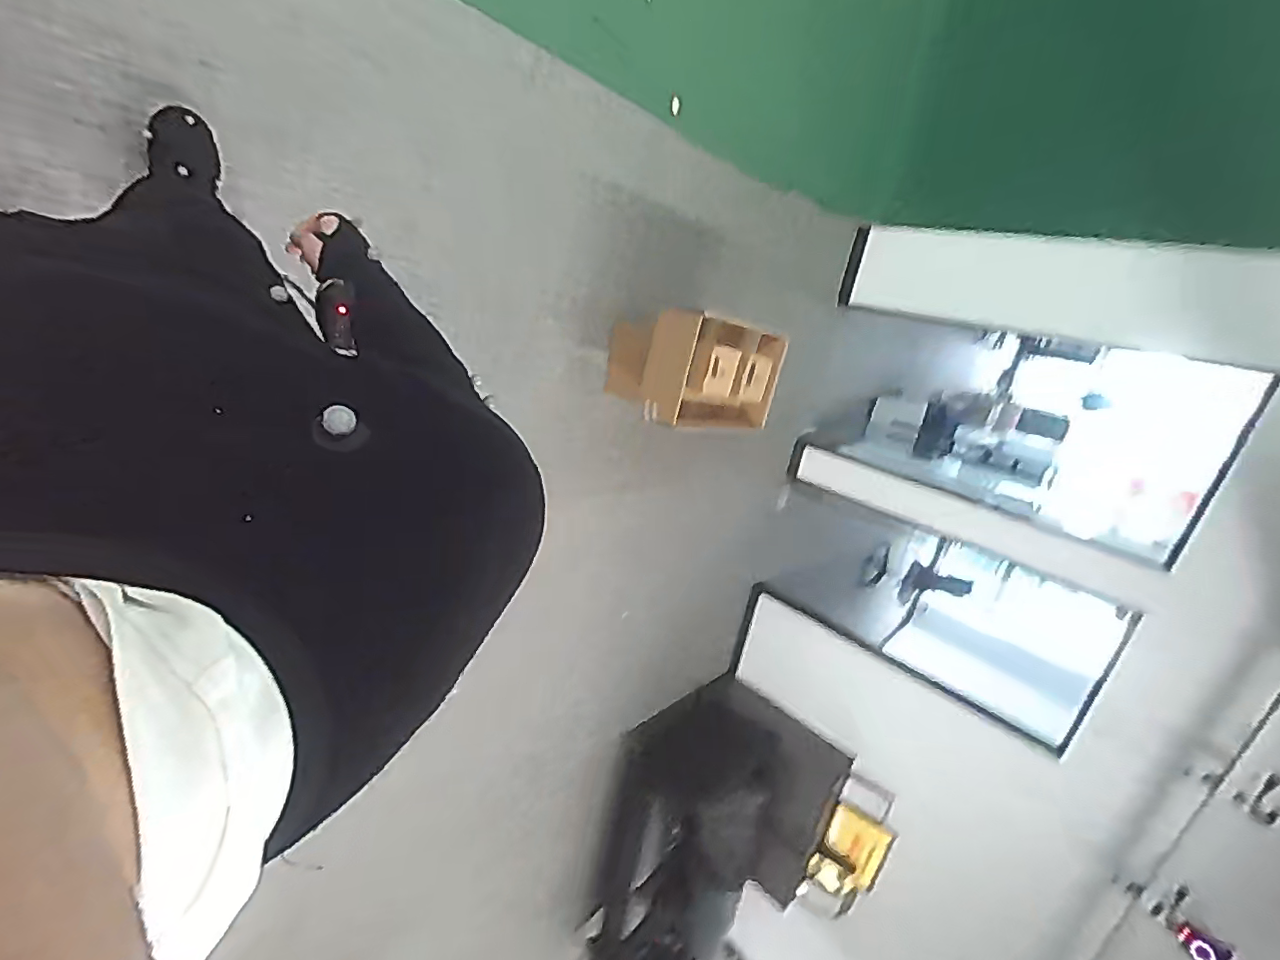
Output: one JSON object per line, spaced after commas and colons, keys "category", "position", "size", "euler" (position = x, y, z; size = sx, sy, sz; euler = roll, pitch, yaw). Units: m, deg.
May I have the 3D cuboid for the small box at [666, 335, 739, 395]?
{"category": "small box", "position": [0.216, -0.405, 1.897], "size": [0.179, 0.176, 0.168], "euler": [-5, 115, -50]}
